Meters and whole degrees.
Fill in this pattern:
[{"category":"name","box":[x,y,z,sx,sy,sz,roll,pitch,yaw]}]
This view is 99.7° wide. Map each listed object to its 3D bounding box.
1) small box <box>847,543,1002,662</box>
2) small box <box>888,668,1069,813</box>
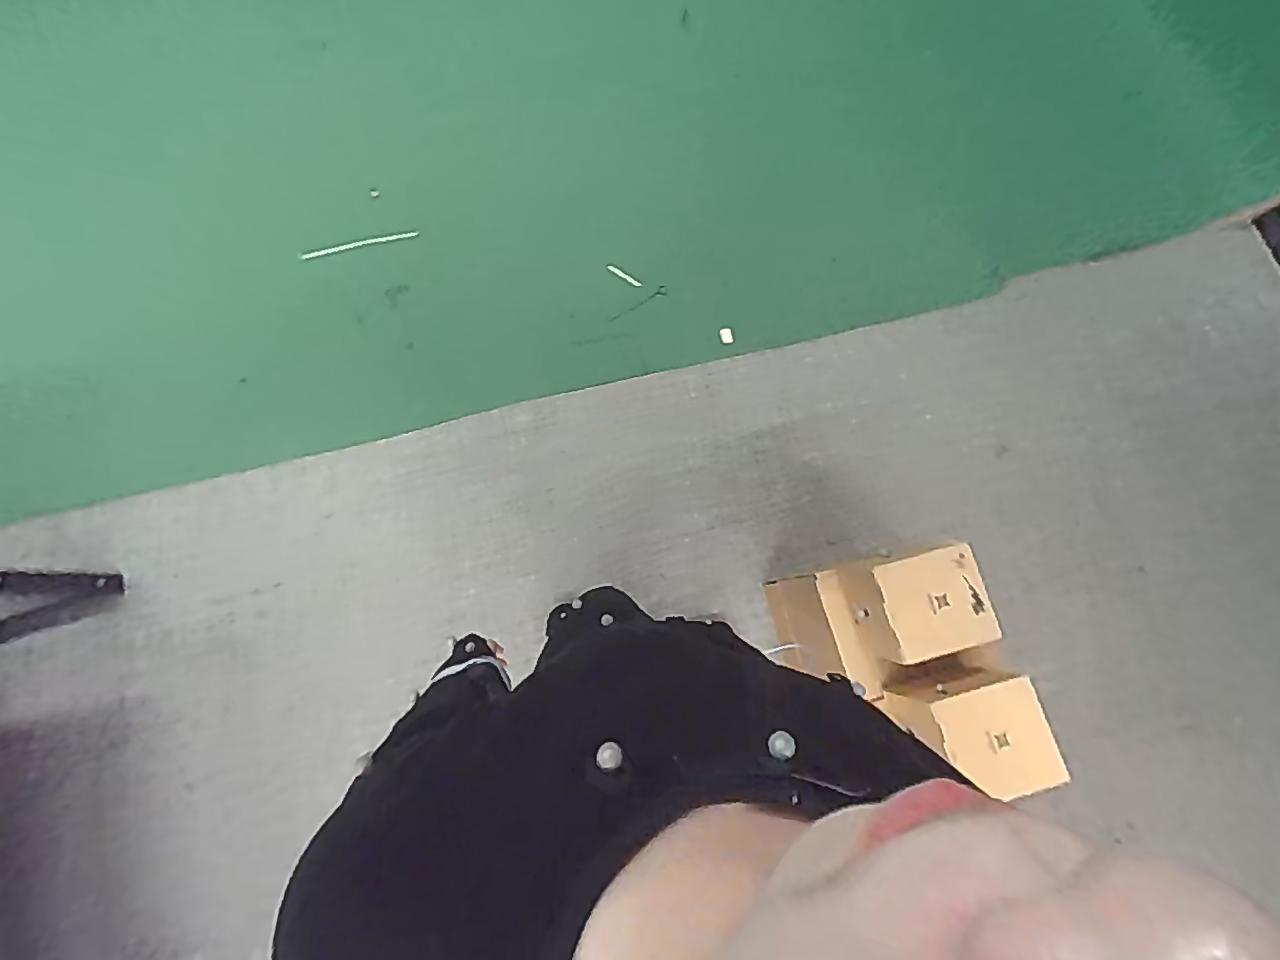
[{"category":"small box","box":[0.495,0.218,0.977,0.179,0.176,0.168,-14,80,-2]},{"category":"small box","box":[0.568,0.433,0.932,0.179,0.176,0.168,-14,77,-4]}]
